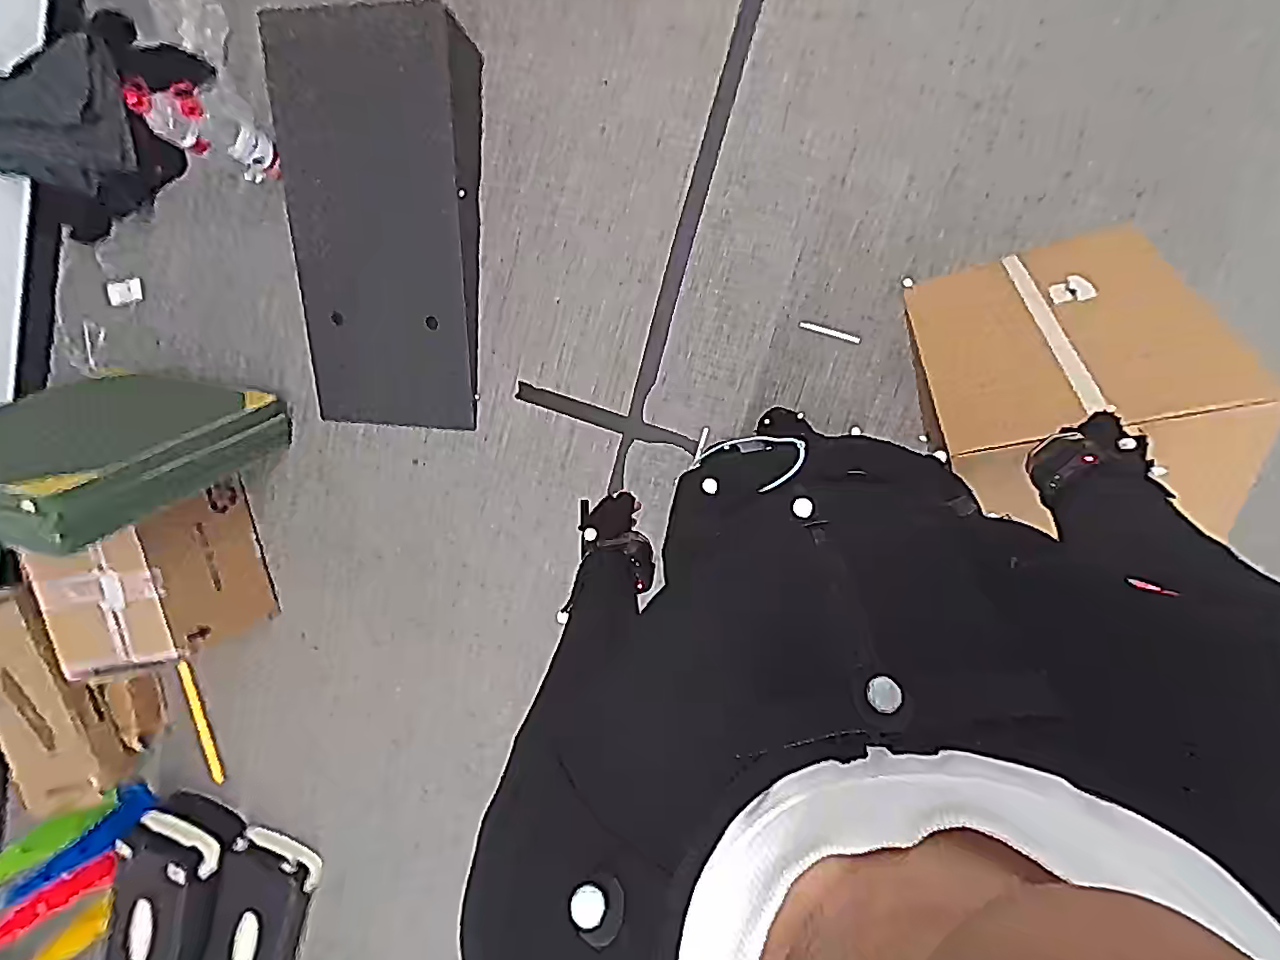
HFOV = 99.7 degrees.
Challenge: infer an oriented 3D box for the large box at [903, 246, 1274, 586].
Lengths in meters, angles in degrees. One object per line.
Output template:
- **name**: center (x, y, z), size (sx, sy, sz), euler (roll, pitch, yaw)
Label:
- **large box**: center (0.631, -0.093, 0.855), size (0.320, 0.408, 0.320), euler (-9, 133, 24)
